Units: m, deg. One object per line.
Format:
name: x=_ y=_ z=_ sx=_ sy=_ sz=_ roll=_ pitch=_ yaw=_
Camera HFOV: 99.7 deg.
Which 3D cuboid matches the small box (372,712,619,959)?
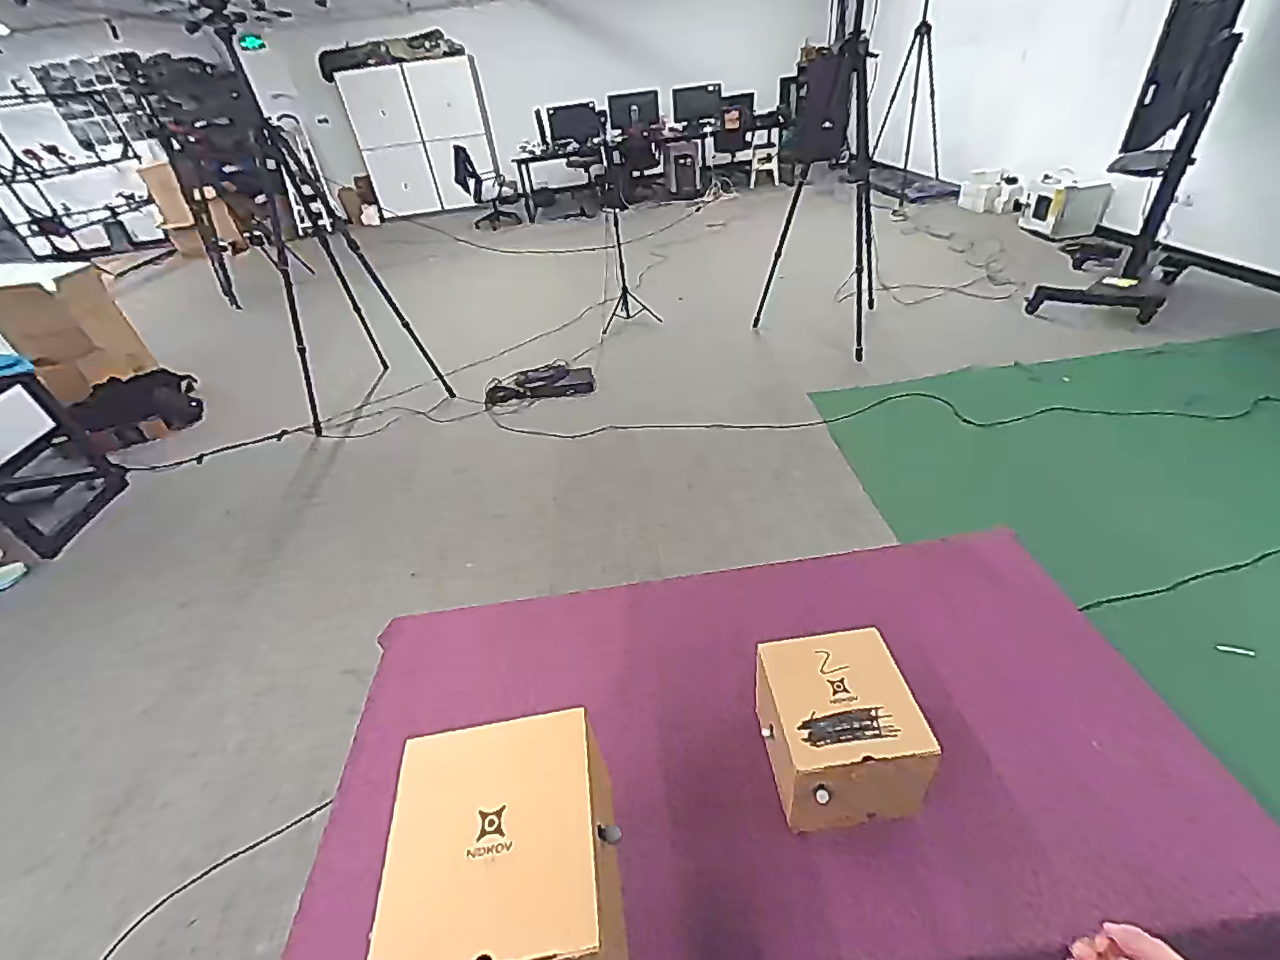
small box: x=-0.115 y=0.347 z=0.498 sx=0.168 sy=0.176 sz=0.179 roll=-10 pitch=43 yaw=-3
